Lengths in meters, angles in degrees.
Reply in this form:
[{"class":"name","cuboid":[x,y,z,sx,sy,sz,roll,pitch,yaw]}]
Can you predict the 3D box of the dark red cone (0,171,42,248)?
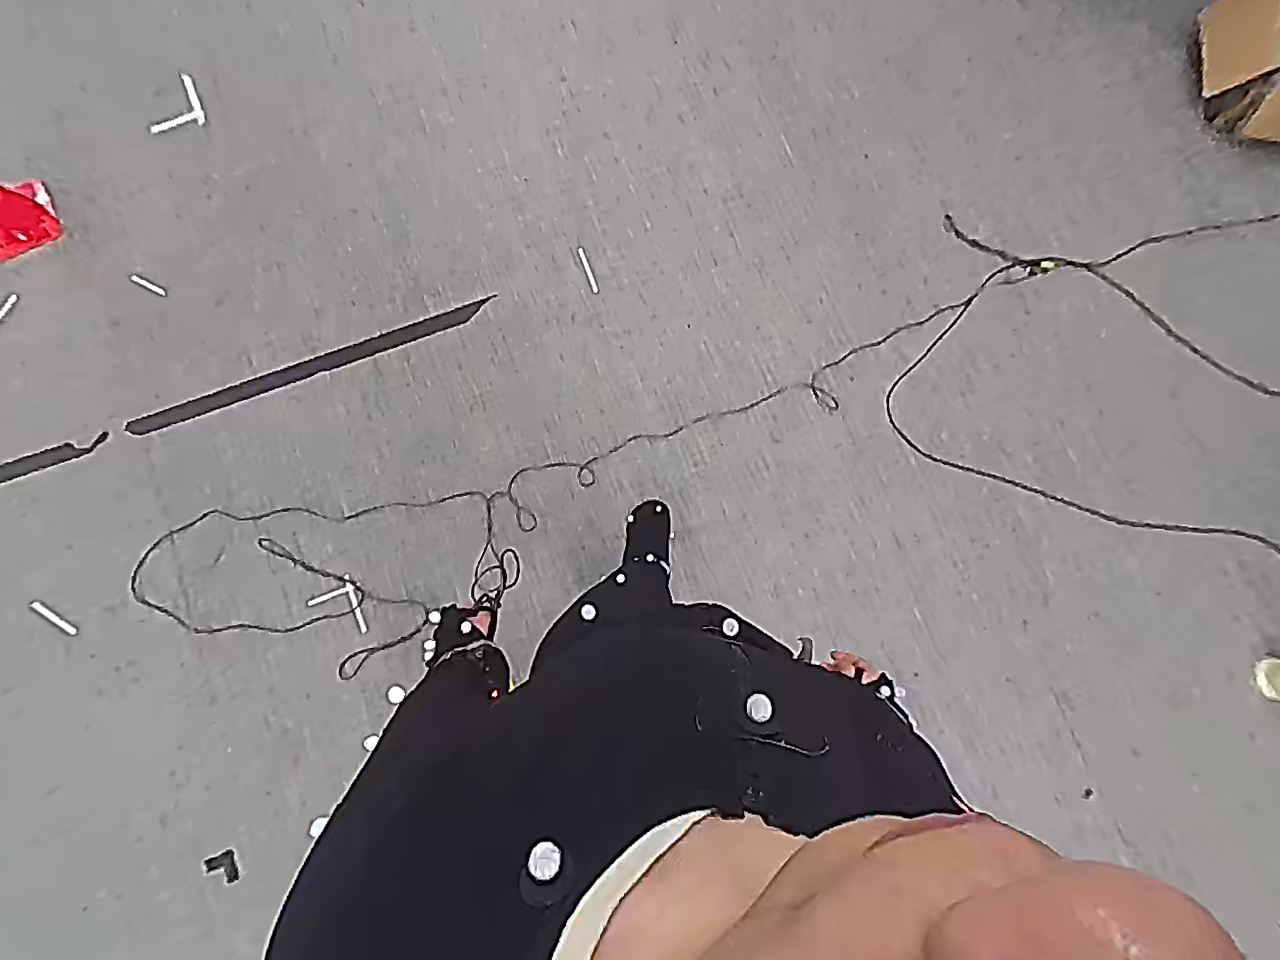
[{"class":"dark red cone","cuboid":[-1.740,-0.745,1.305,0.202,0.394,0.201,-28,84,-4]}]
